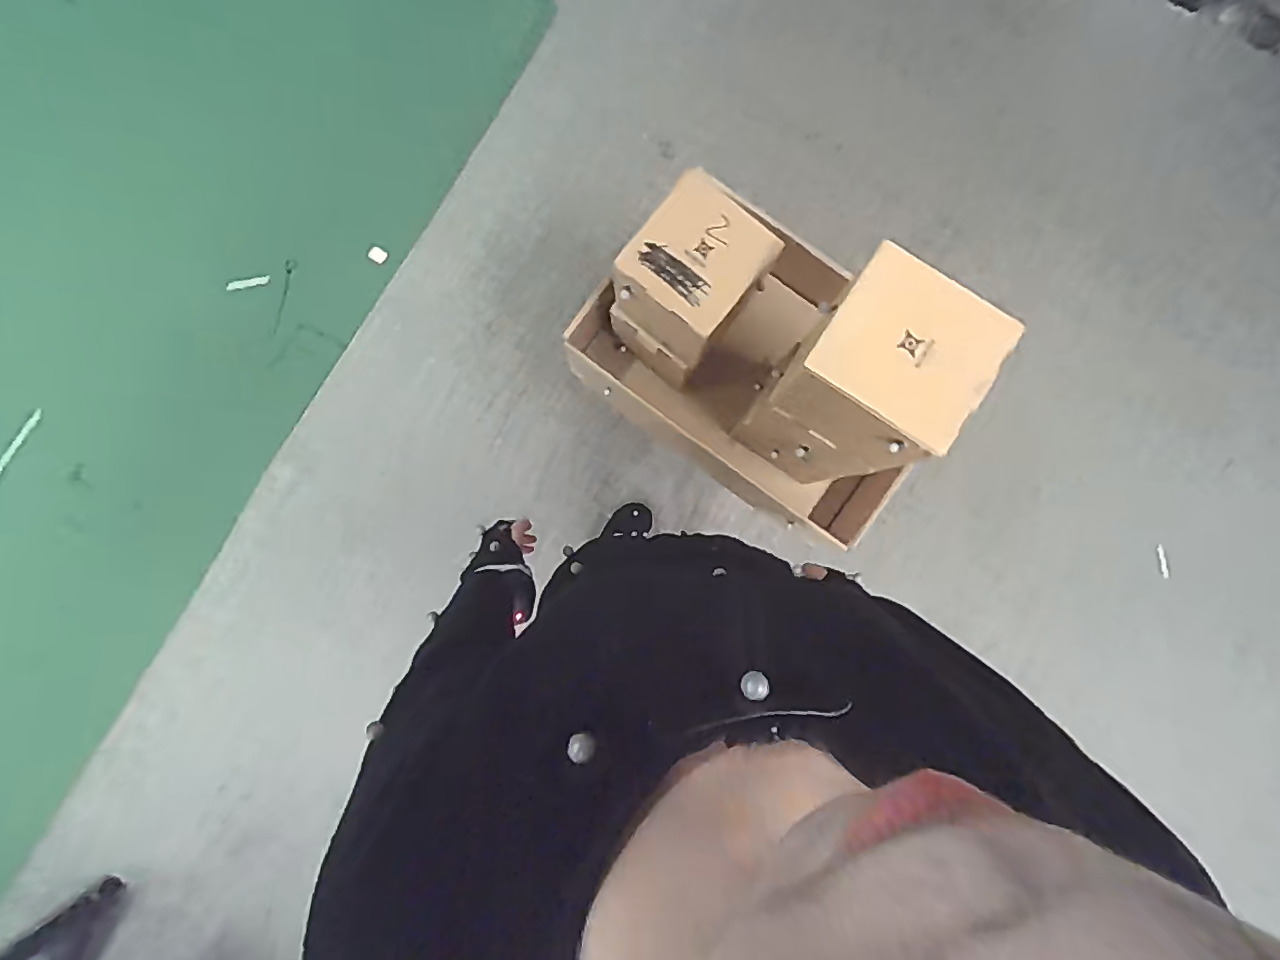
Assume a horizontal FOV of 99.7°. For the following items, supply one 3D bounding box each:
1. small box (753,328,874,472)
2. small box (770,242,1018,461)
[{"bbox_3d":[0.287,-0.125,0.809,0.168,0.176,0.179,33,88,2],"label":"small box"},{"bbox_3d":[0.282,-0.135,0.646,0.179,0.176,0.168,34,87,1],"label":"small box"}]
